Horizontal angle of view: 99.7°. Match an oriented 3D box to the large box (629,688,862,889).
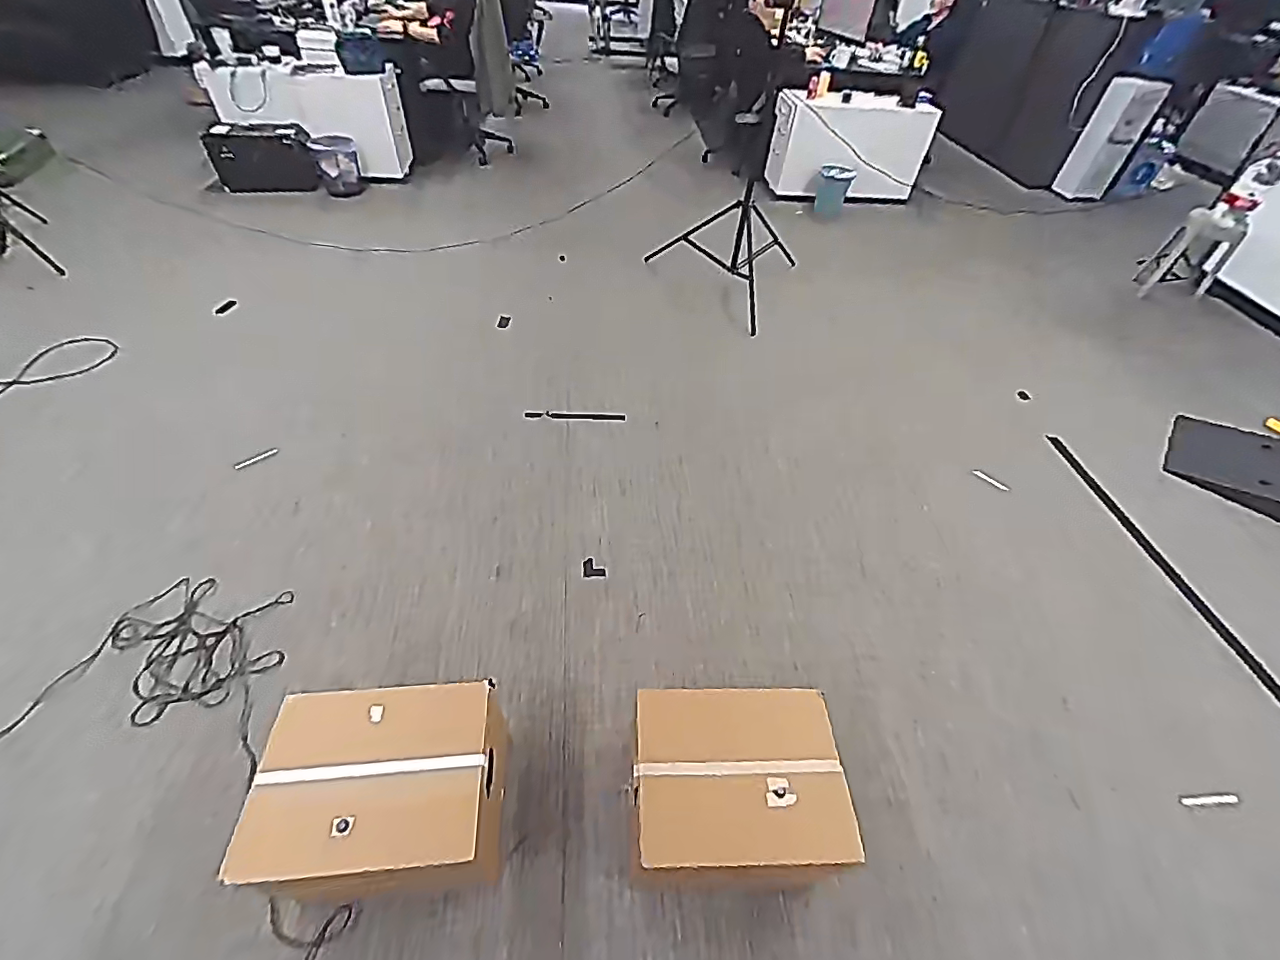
[{"bbox_3d":[0.188,0.664,1.167,0.408,0.320,0.320,2,47,-4],"label":"large box"}]
